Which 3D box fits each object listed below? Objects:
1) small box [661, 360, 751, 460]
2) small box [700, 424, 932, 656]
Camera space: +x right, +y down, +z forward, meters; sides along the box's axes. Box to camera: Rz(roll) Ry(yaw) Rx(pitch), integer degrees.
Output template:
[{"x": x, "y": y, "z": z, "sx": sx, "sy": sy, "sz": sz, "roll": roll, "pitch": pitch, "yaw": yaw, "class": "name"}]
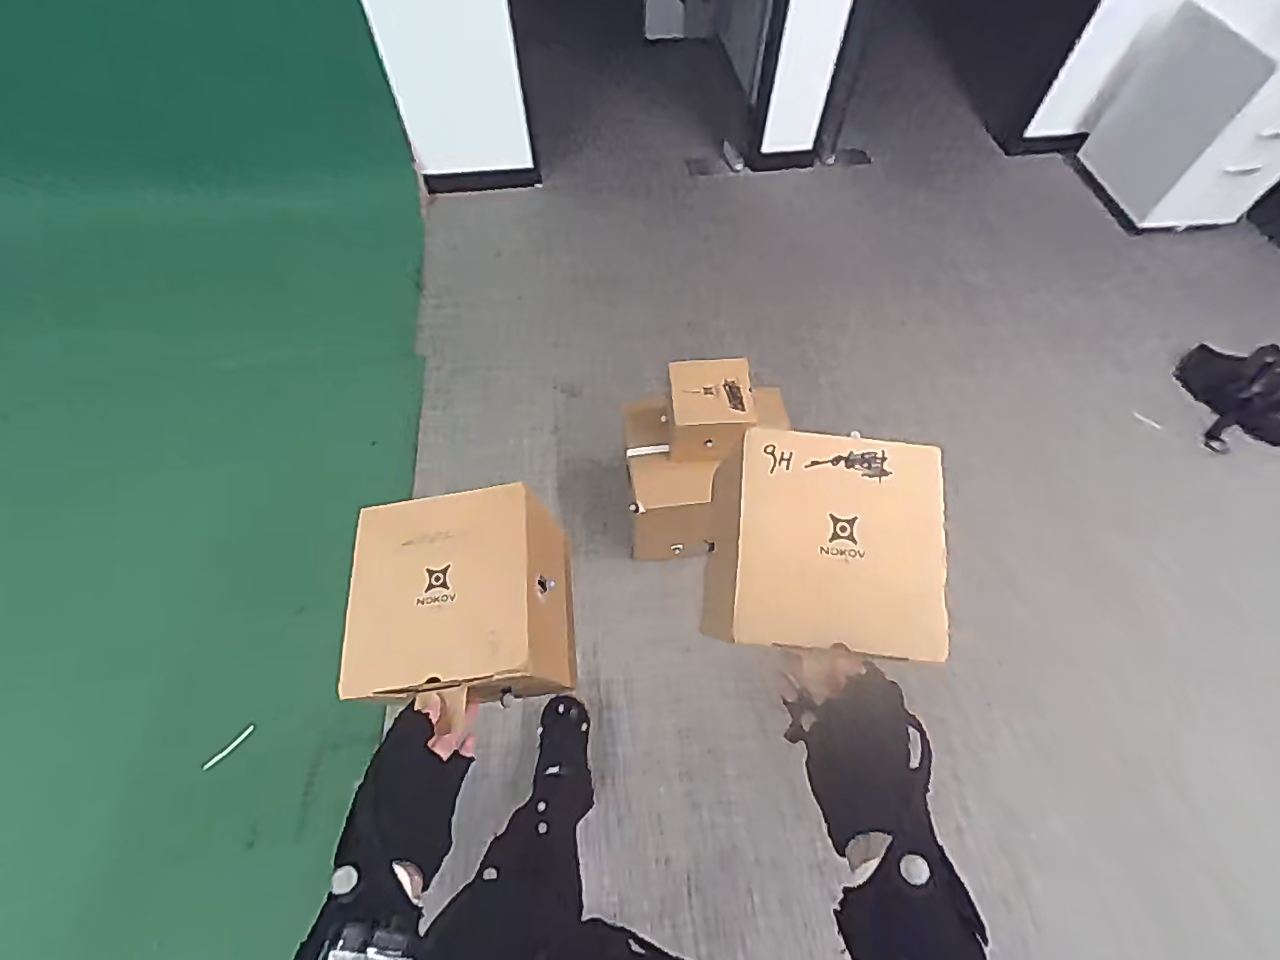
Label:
[{"x": 0.142, "y": -0.154, "z": 1.233, "sx": 0.179, "sy": 0.176, "sz": 0.168, "roll": 0, "pitch": 64, "yaw": -2, "class": "small box"}, {"x": 0.154, "y": 0.062, "z": 0.518, "sx": 0.168, "sy": 0.176, "sz": 0.179, "roll": 6, "pitch": 77, "yaw": -1, "class": "small box"}]
